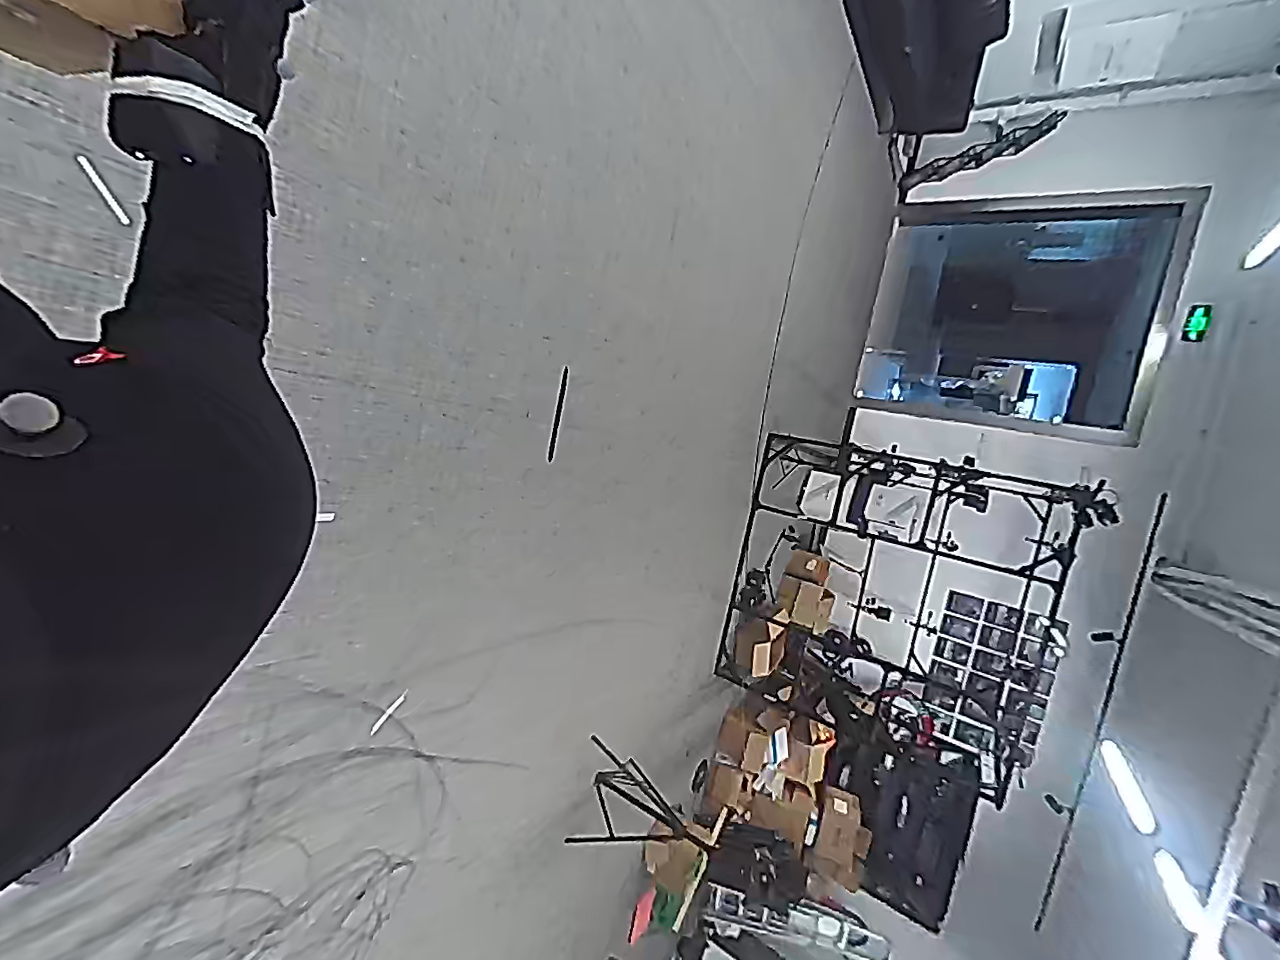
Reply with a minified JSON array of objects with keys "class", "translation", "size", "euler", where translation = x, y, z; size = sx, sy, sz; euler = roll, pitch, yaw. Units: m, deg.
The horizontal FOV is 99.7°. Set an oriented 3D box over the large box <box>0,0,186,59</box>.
[{"class":"large box","translation":[-0.511,-0.491,0.258],"size":[0.408,0.320,0.320],"euler":[-2,113,-59]}]
